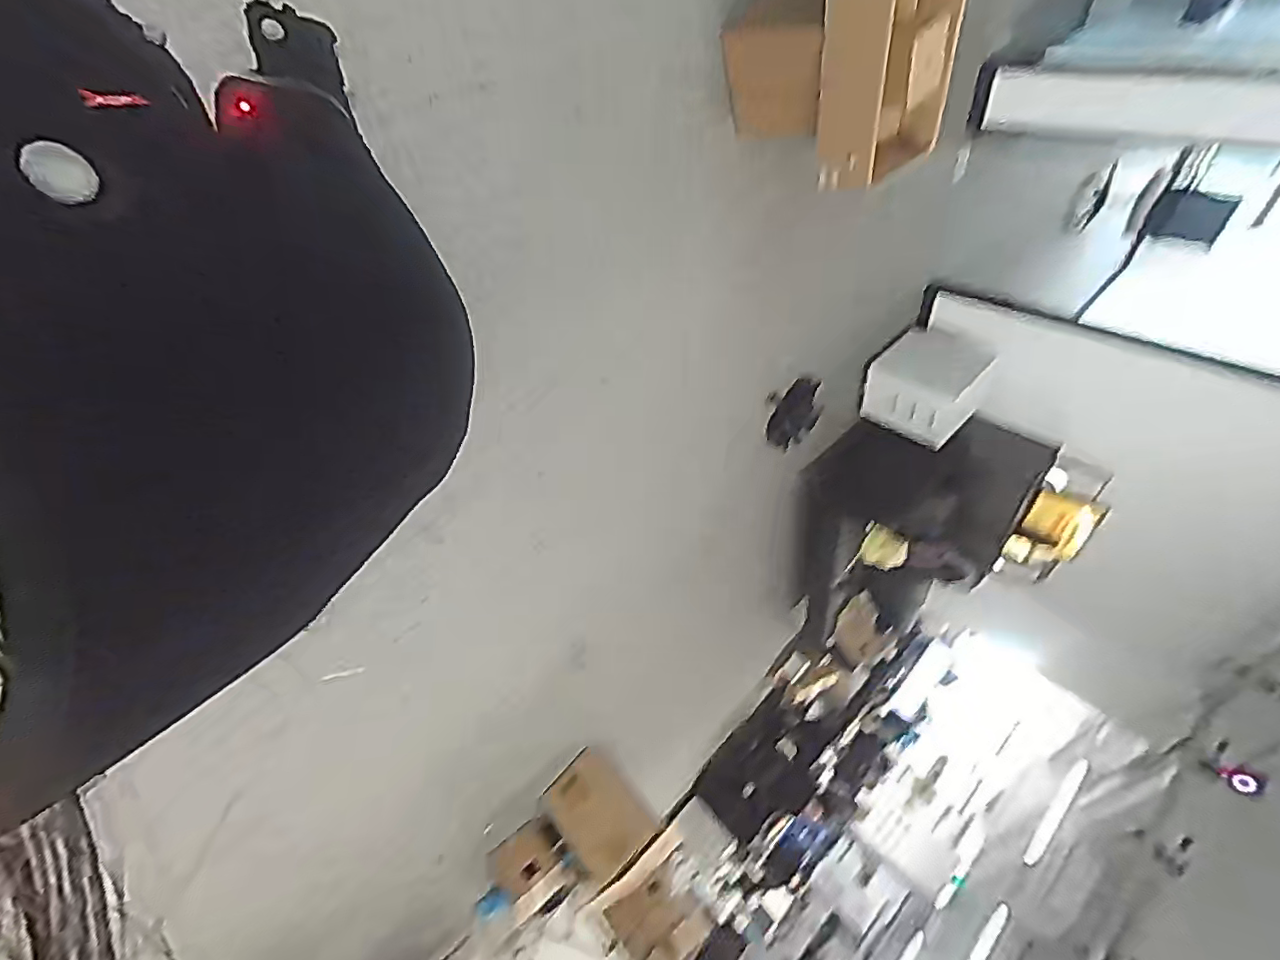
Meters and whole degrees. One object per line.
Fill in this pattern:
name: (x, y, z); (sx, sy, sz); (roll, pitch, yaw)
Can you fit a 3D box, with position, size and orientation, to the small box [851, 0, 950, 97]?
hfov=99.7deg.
small box: (0.704, -1.178, 1.475); (0.179, 0.176, 0.168); (-42, 141, -17)
